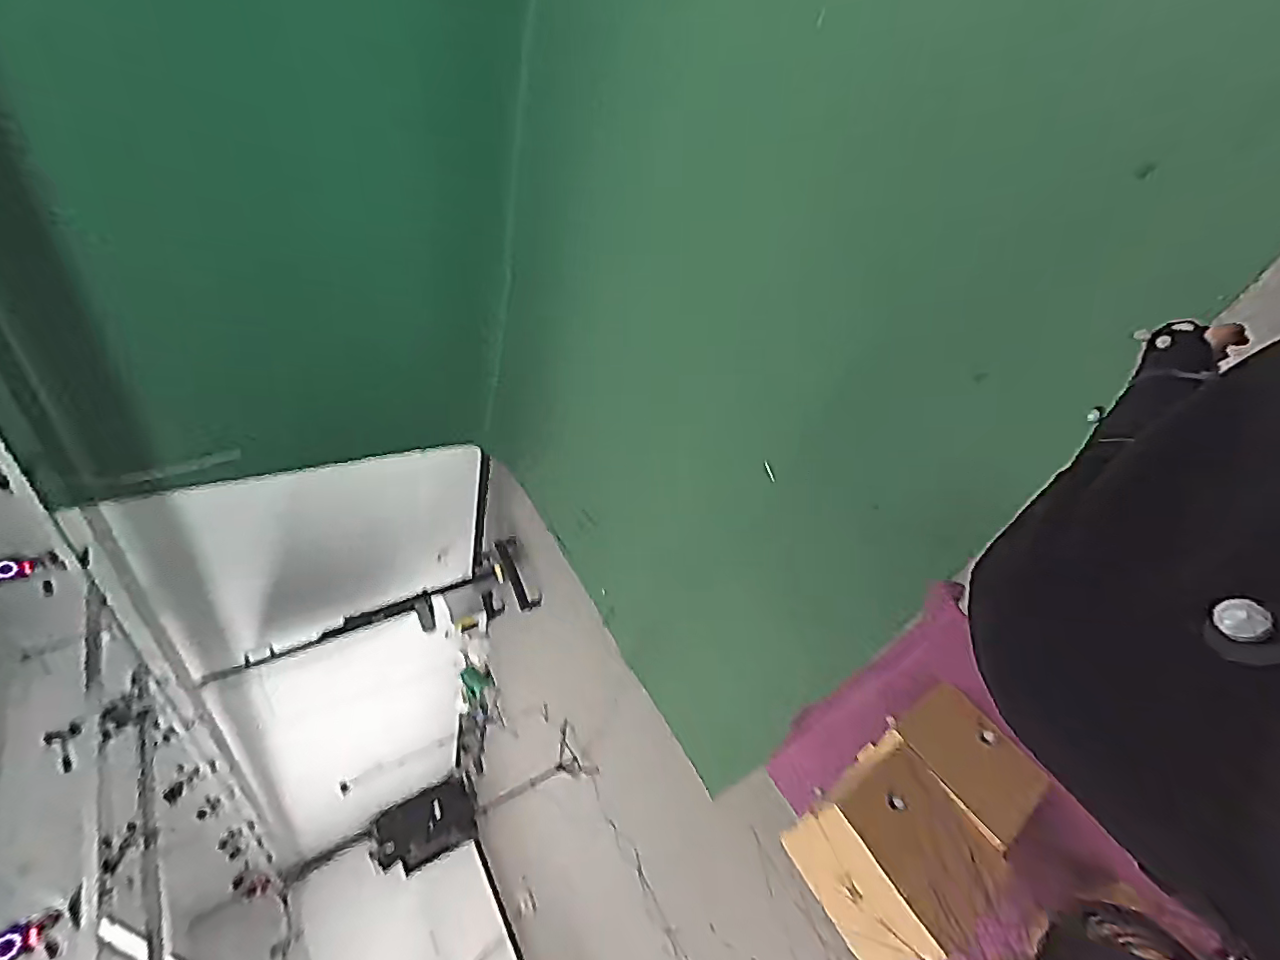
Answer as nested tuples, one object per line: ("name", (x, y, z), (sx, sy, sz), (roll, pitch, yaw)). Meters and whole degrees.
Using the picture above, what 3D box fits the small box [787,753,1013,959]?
("small box", (0.342, 0.499, 0.726), (0.179, 0.176, 0.168), (52, 140, 30))

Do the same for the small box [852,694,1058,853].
("small box", (0.470, 0.452, 0.818), (0.179, 0.176, 0.168), (48, 138, 35))

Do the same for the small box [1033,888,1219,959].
("small box", (0.621, 0.665, 0.674), (0.168, 0.176, 0.179), (46, 137, 37))
